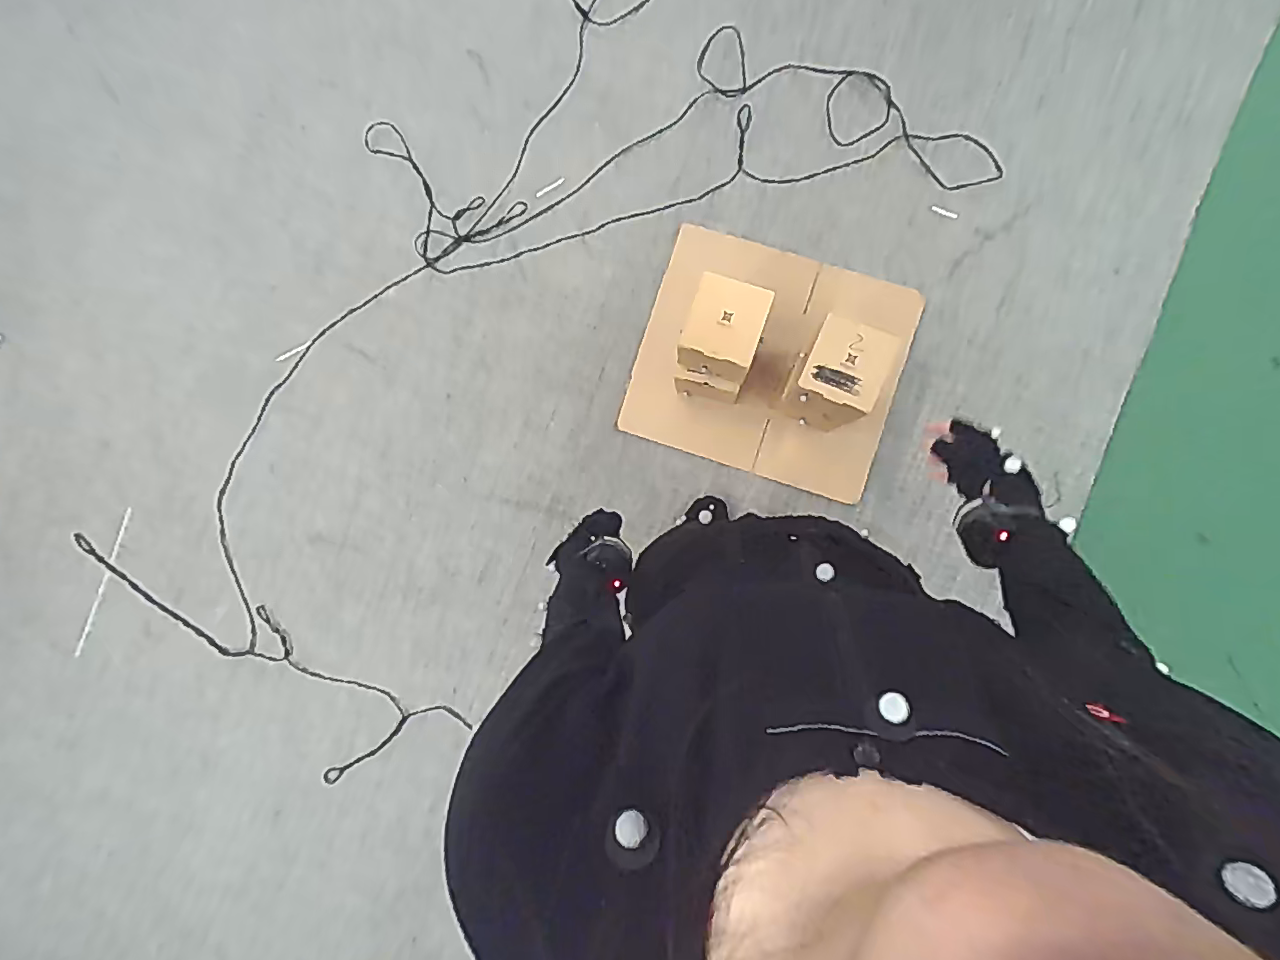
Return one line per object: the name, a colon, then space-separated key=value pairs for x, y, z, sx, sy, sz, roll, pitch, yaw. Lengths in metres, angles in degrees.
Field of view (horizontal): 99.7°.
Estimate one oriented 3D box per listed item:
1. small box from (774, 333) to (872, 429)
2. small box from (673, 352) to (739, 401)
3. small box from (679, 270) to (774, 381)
small box: x=0.458 y=-0.245 z=1.386 sx=0.168 sy=0.176 sz=0.179 roll=23 pitch=91 yaw=6
small box: x=0.189 y=-0.317 z=1.407 sx=0.168 sy=0.176 sz=0.179 roll=16 pitch=90 yaw=5
small box: x=0.190 y=-0.347 z=1.244 sx=0.168 sy=0.176 sz=0.179 roll=19 pitch=90 yaw=4
